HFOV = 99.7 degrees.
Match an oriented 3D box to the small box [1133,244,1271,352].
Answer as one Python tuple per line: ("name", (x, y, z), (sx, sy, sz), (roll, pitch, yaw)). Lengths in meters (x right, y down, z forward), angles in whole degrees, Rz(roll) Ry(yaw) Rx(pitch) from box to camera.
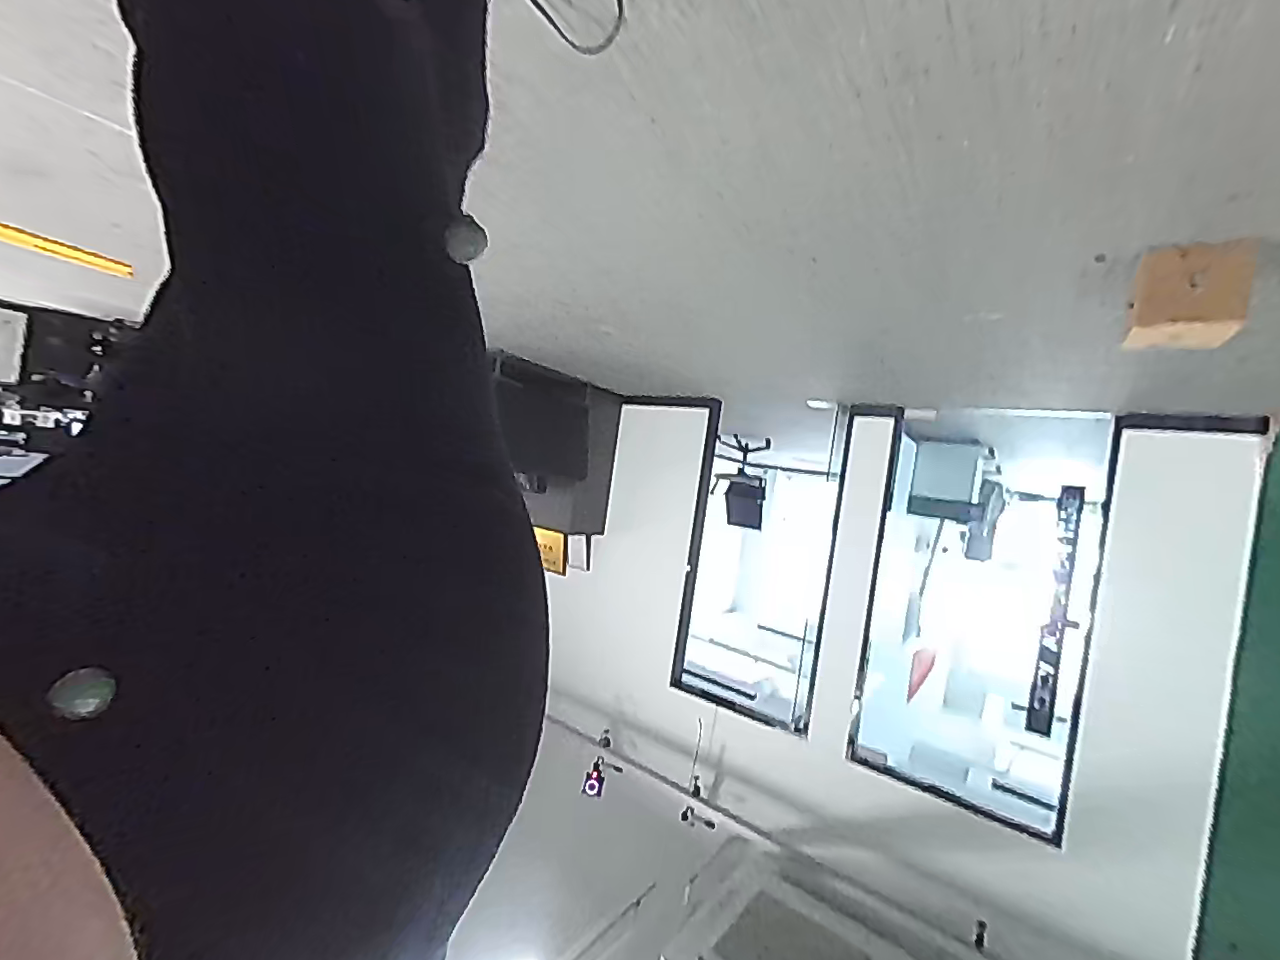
("small box", (1.159, -0.375, 1.124), (0.168, 0.176, 0.179), (7, 179, 34))
